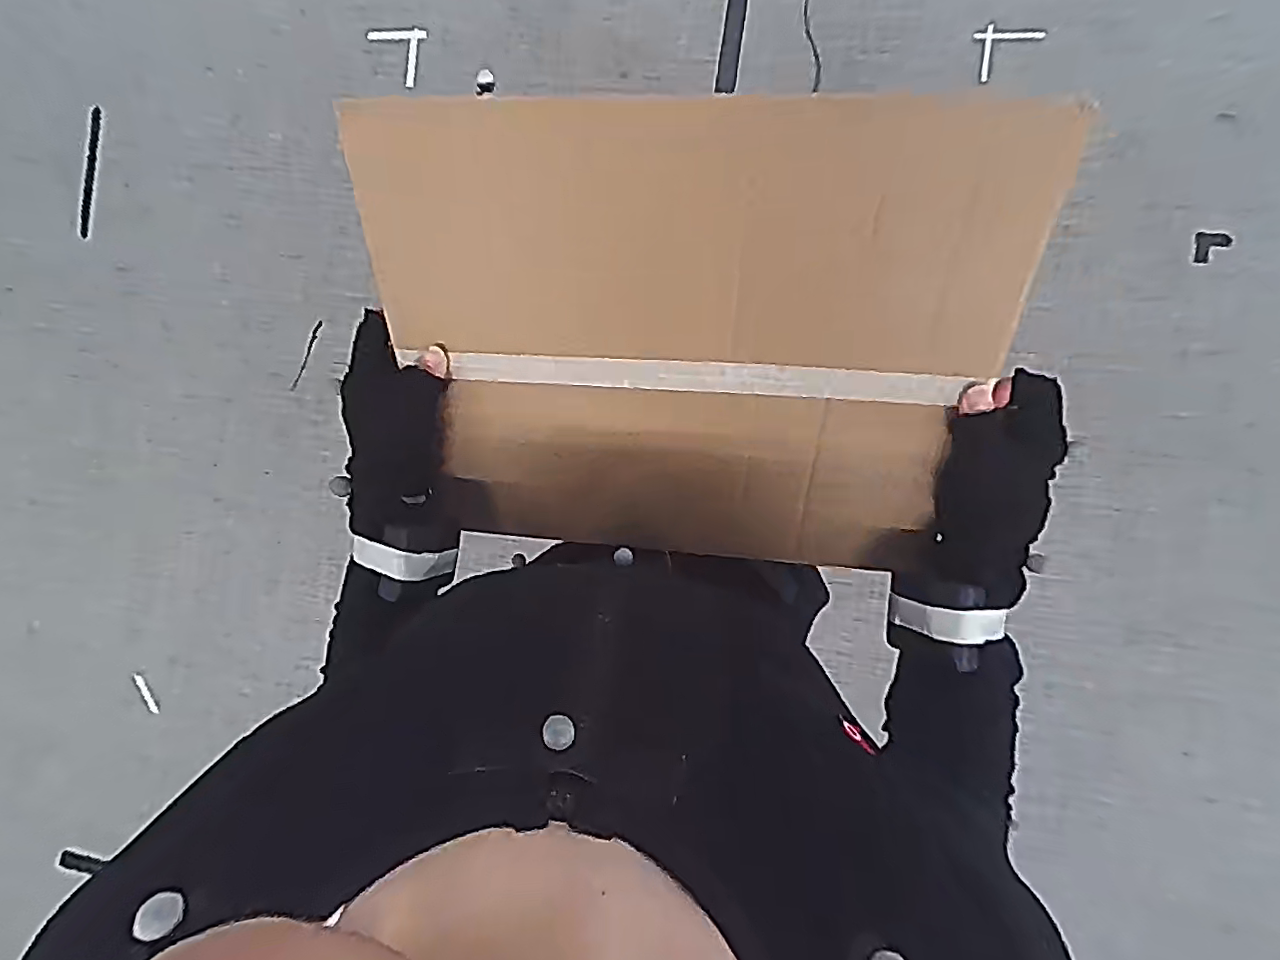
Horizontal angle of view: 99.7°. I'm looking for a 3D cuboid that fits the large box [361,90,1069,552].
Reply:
[{"bbox_3d":[0.046,-0.162,0.505,0.408,0.320,0.320,5,125,7],"label":"large box"}]
